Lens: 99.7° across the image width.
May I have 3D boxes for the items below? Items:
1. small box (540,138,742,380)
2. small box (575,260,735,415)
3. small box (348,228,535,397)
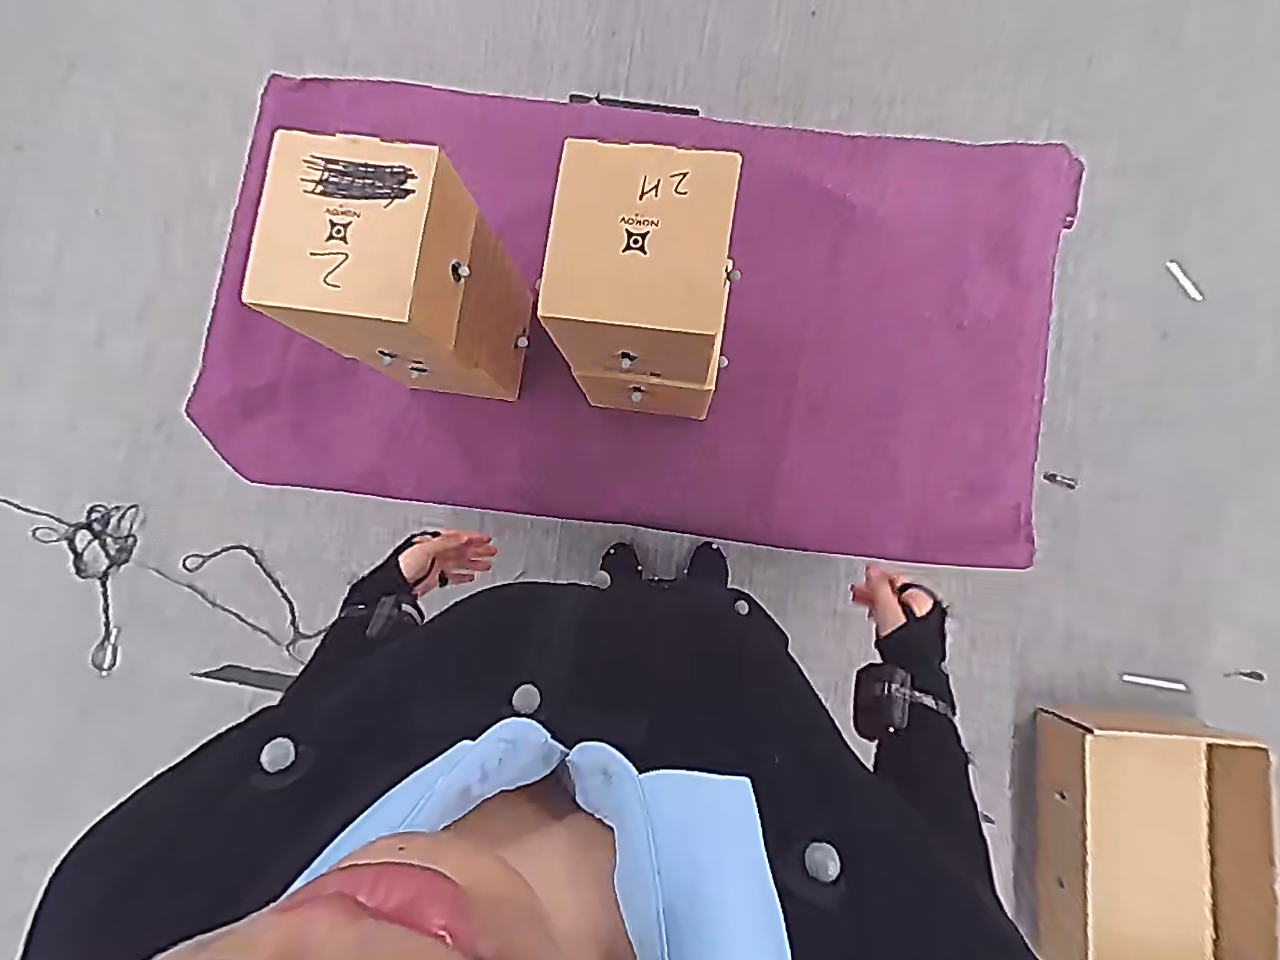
[{"bbox_3d":[0.006,-0.216,0.570,0.168,0.176,0.179,8,85,4],"label":"small box"},{"bbox_3d":[0.023,-0.191,0.733,0.179,0.176,0.168,8,85,5],"label":"small box"},{"bbox_3d":[-0.262,-0.221,0.750,0.179,0.176,0.168,8,85,4],"label":"small box"}]
